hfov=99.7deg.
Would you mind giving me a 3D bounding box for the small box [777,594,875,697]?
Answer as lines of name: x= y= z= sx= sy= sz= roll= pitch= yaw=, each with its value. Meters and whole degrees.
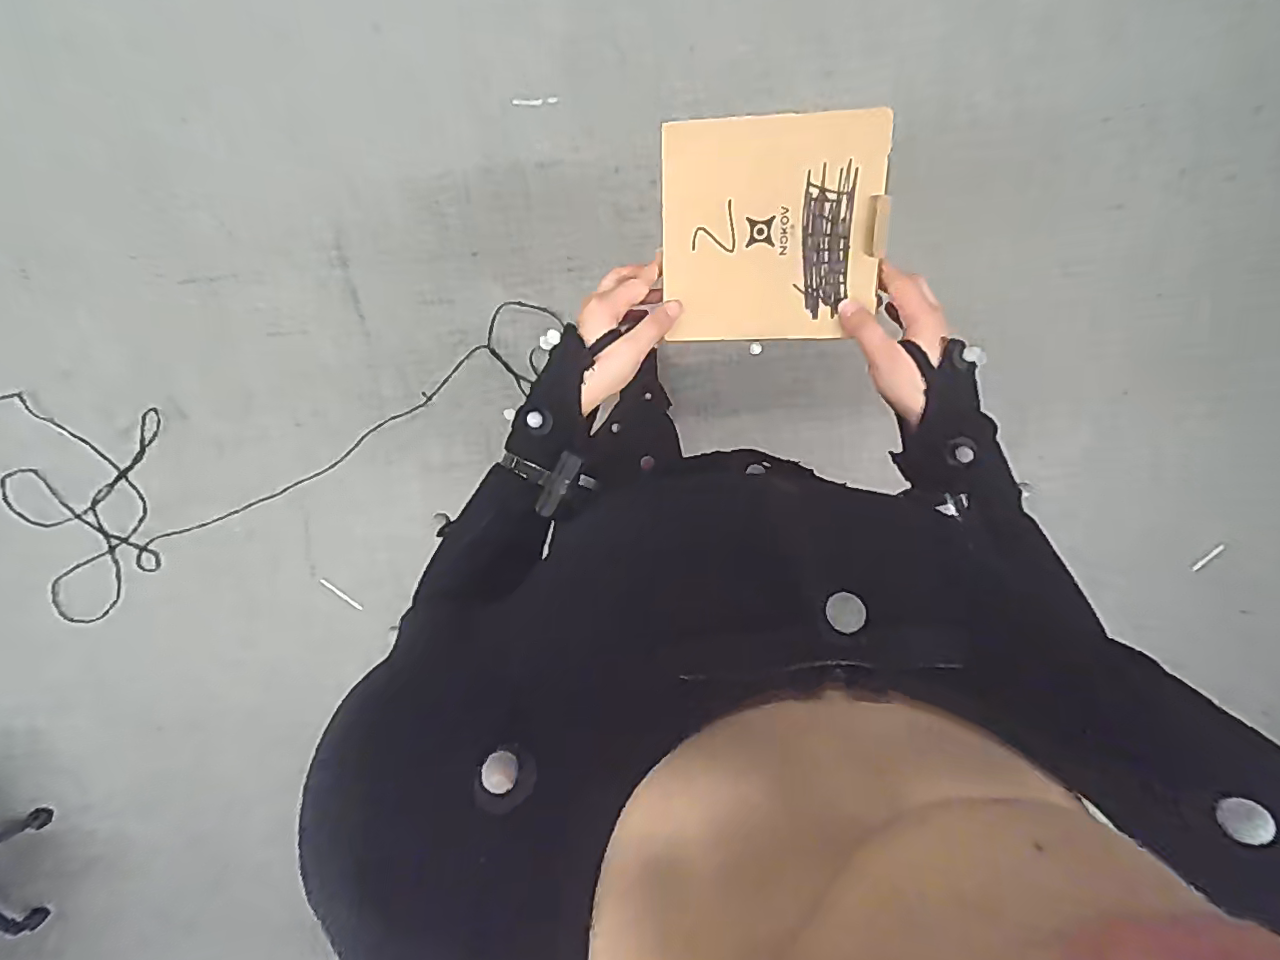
small box: x=0.433 y=0.388 z=1.288 sx=0.179 sy=0.176 sz=0.168 roll=-10 pitch=101 yaw=1
